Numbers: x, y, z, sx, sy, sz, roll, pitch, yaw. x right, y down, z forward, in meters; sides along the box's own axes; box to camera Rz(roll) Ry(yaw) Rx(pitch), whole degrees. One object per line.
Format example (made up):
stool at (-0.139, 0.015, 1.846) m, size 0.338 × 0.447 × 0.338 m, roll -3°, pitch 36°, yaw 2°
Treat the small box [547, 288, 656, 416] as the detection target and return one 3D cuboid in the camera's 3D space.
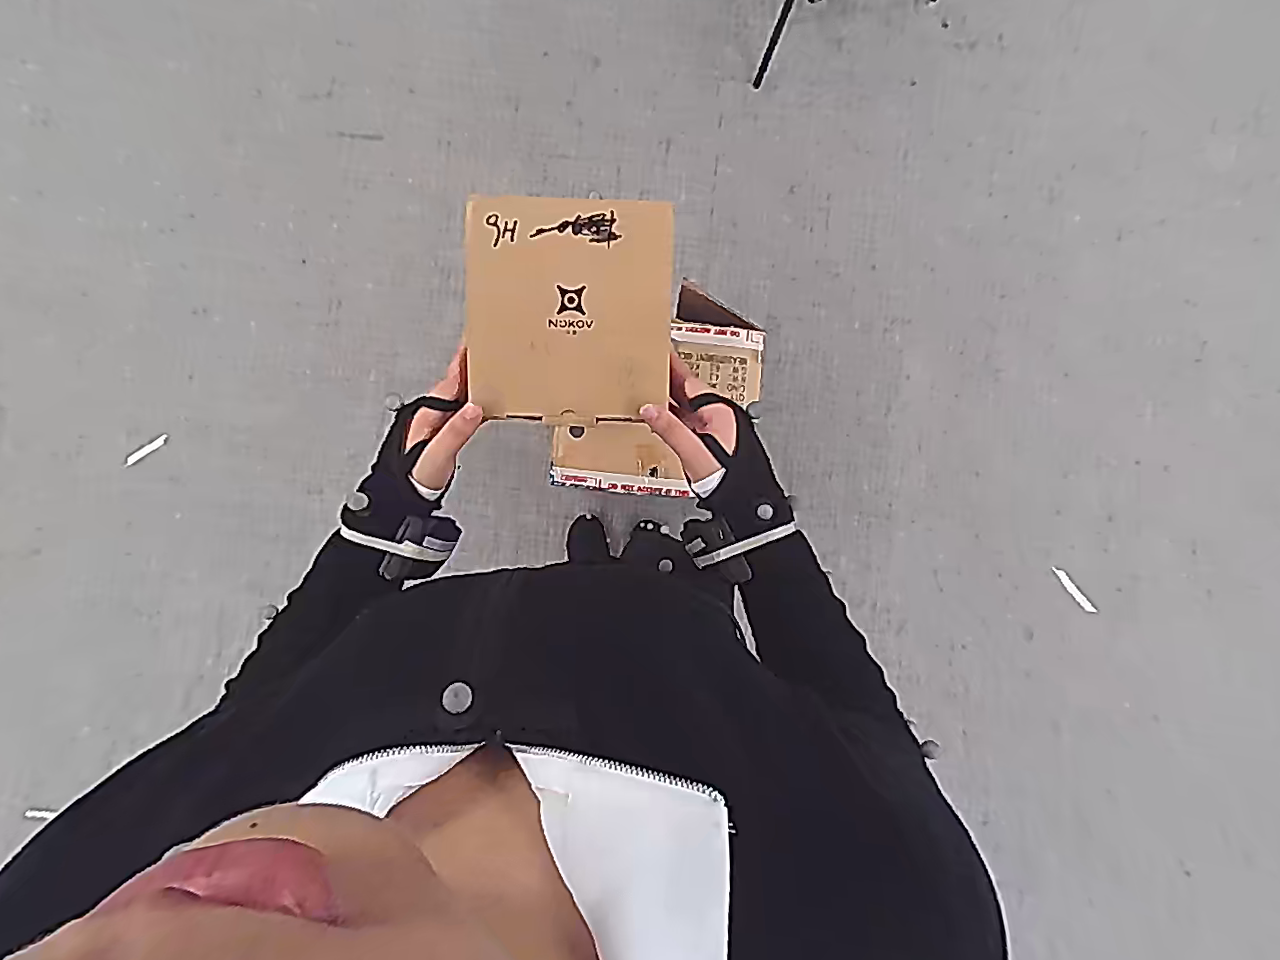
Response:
small box at (-0.060, -0.216, 0.950) m, size 0.168 × 0.176 × 0.179 m, roll 4°, pitch 89°, yaw 3°
